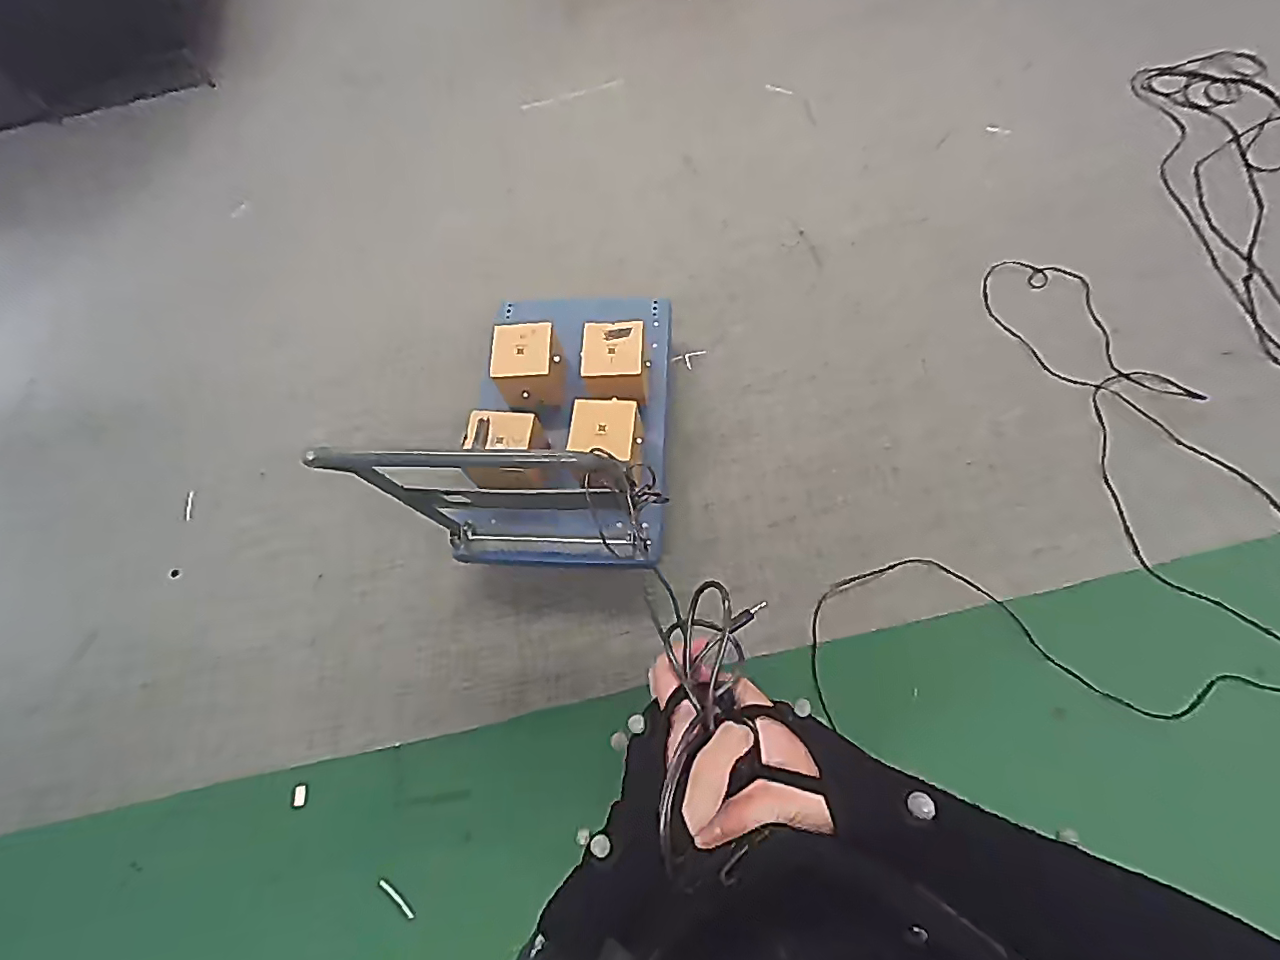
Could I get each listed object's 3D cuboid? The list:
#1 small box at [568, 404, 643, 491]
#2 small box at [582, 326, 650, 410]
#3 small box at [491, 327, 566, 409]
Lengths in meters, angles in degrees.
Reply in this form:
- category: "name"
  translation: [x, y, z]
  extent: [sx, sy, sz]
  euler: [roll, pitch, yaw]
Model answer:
- category: "small box"
  translation: [-0.086, -0.085, 1.447]
  extent: [0.168, 0.176, 0.179]
  euler: [2, 68, 8]
- category: "small box"
  translation: [-0.063, -0.315, 1.539]
  extent: [0.168, 0.176, 0.179]
  euler: [-1, 68, 7]
- category: "small box"
  translation: [-0.317, -0.317, 1.571]
  extent: [0.168, 0.176, 0.179]
  euler: [-2, 67, 5]
